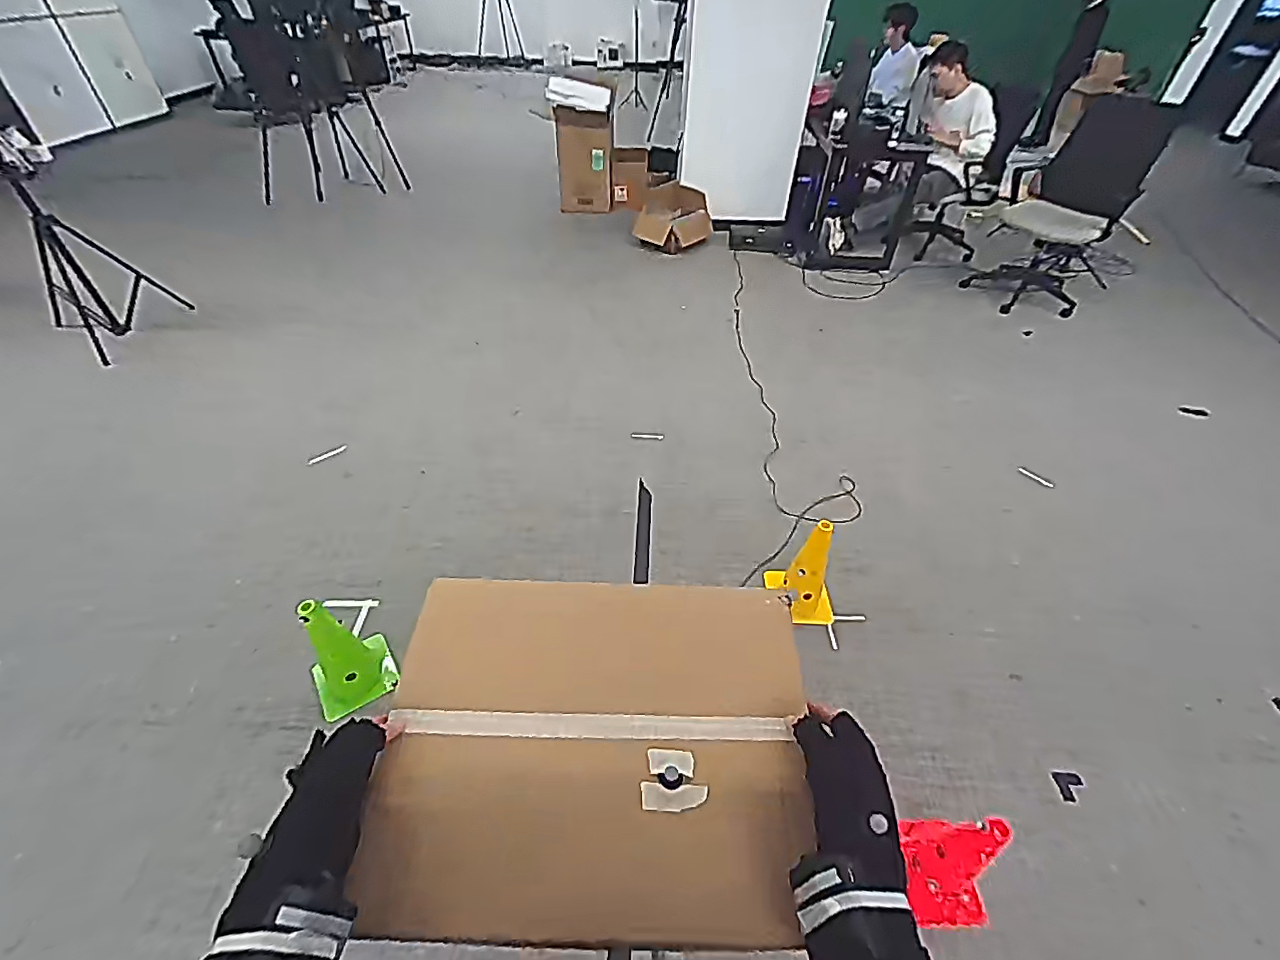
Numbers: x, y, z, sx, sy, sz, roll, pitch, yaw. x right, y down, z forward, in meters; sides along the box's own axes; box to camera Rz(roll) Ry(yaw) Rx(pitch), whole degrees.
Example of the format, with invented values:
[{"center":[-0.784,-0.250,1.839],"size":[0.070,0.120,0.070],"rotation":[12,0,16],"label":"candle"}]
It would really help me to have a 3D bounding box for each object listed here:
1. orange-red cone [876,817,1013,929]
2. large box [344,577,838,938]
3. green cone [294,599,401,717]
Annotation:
[{"center":[0.660,0.767,1.115],"size":[0.198,0.360,0.199],"rotation":[1,42,-2],"label":"orange-red cone"},{"center":[-0.042,0.331,0.637],"size":[0.408,0.320,0.320],"rotation":[2,49,-1],"label":"large box"},{"center":[-0.806,0.425,1.425],"size":[0.202,0.368,0.200],"rotation":[-26,50,-24],"label":"green cone"}]
